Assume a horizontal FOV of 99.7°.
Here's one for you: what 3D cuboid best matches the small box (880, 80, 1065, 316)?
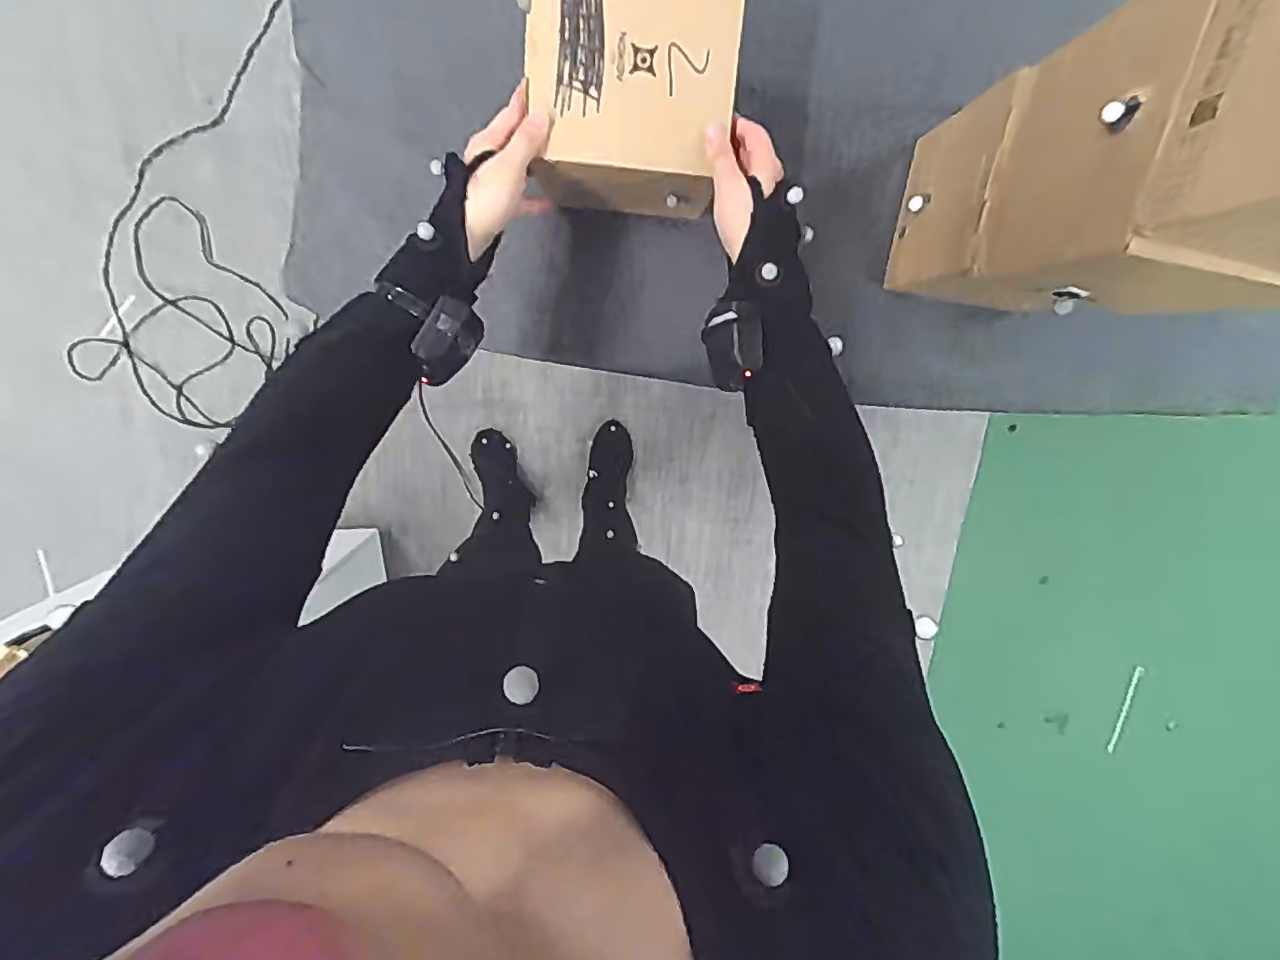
[{"bbox_3d":[0.385,-0.267,0.559,0.179,0.176,0.168,8,103,-4],"label":"small box"}]

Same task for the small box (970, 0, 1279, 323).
[{"bbox_3d":[0.388,-0.223,0.403,0.168,0.176,0.179,10,104,-3],"label":"small box"}]
